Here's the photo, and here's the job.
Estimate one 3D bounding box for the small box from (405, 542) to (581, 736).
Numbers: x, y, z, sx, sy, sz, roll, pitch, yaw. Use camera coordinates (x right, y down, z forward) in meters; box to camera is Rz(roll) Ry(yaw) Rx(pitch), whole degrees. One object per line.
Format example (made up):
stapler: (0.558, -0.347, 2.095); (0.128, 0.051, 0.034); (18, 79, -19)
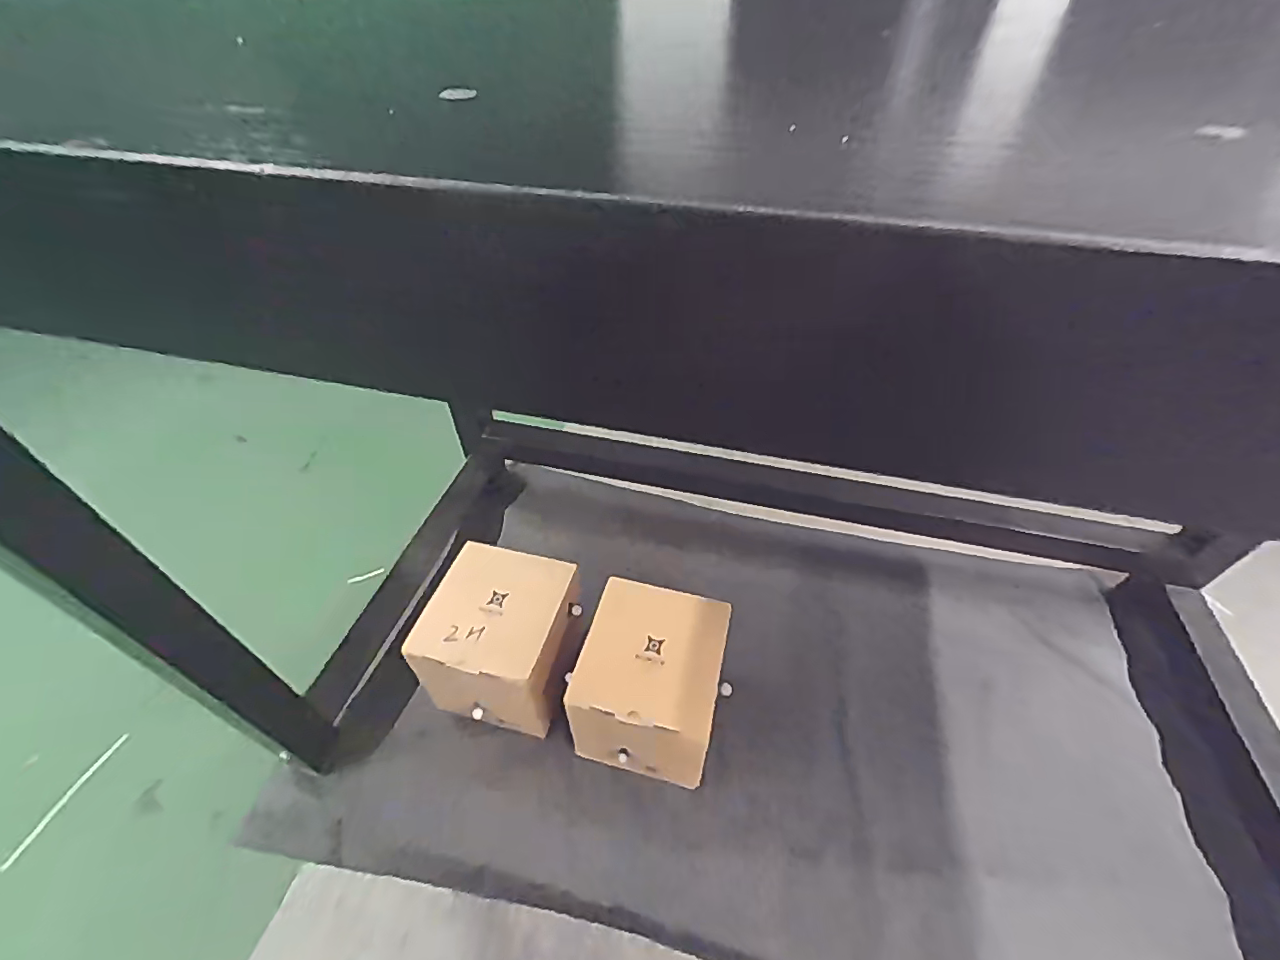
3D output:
small box: (-0.185, 0.218, 0.745); (0.168, 0.176, 0.179); (11, 46, 10)

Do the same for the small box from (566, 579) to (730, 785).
small box: (0.014, 0.262, 0.705); (0.168, 0.176, 0.179); (11, 46, 11)
